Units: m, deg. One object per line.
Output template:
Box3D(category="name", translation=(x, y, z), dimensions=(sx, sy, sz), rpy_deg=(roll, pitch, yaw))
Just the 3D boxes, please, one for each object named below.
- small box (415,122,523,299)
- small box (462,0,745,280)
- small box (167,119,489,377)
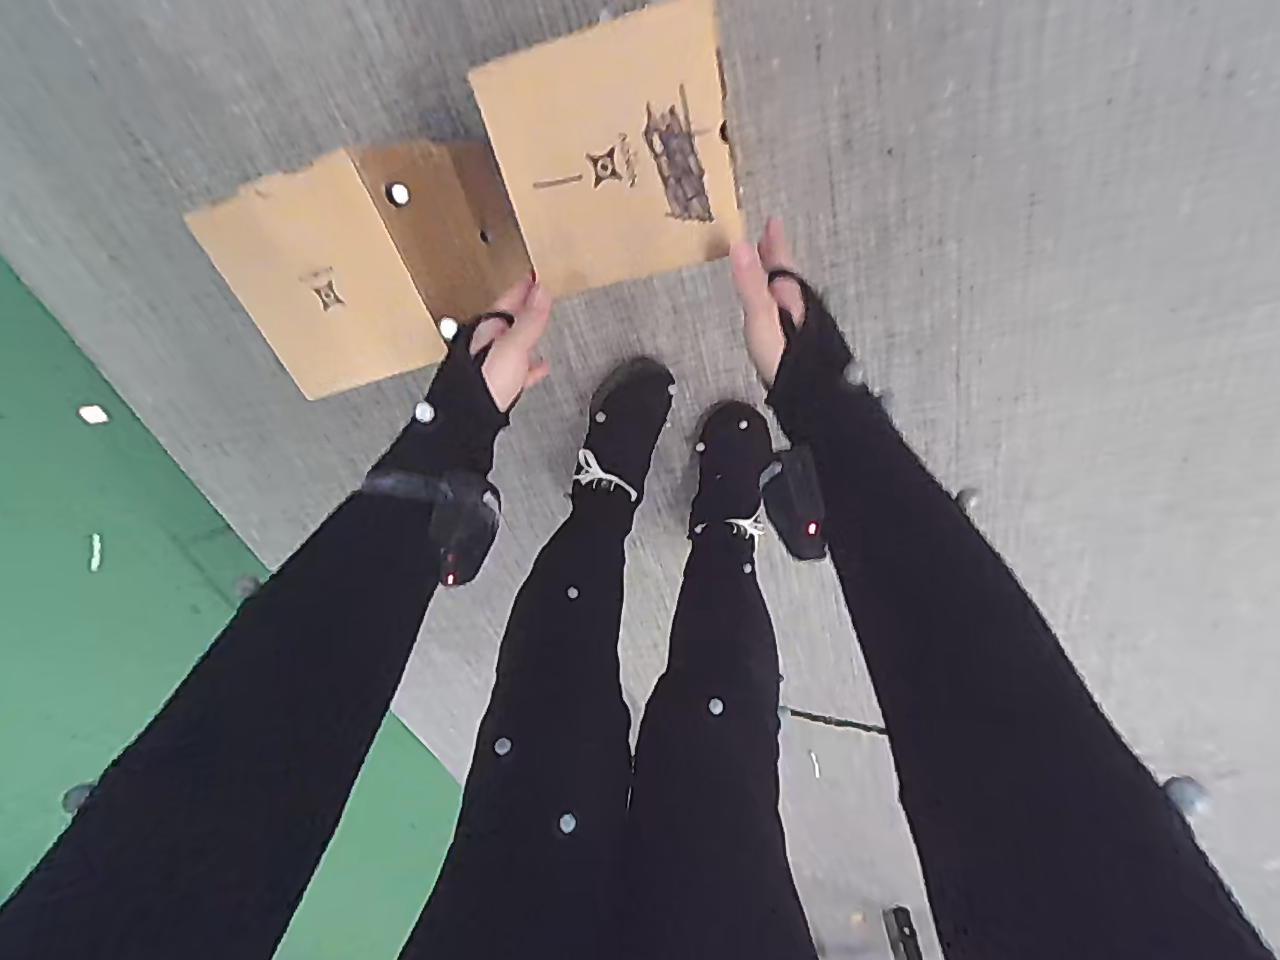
Box3D(category="small box", translation=(-0.260, -0.316, 0.658), dimensions=(0.168, 0.176, 0.179), rpy_deg=(-10, 122, 11))
Box3D(category="small box", translation=(-0.014, -0.286, 0.454), dimensions=(0.179, 0.176, 0.168), rpy_deg=(-8, 121, 11))
Box3D(category="small box", translation=(-0.271, -0.226, 0.523), dimensions=(0.168, 0.176, 0.179), rpy_deg=(-11, 121, 13))
